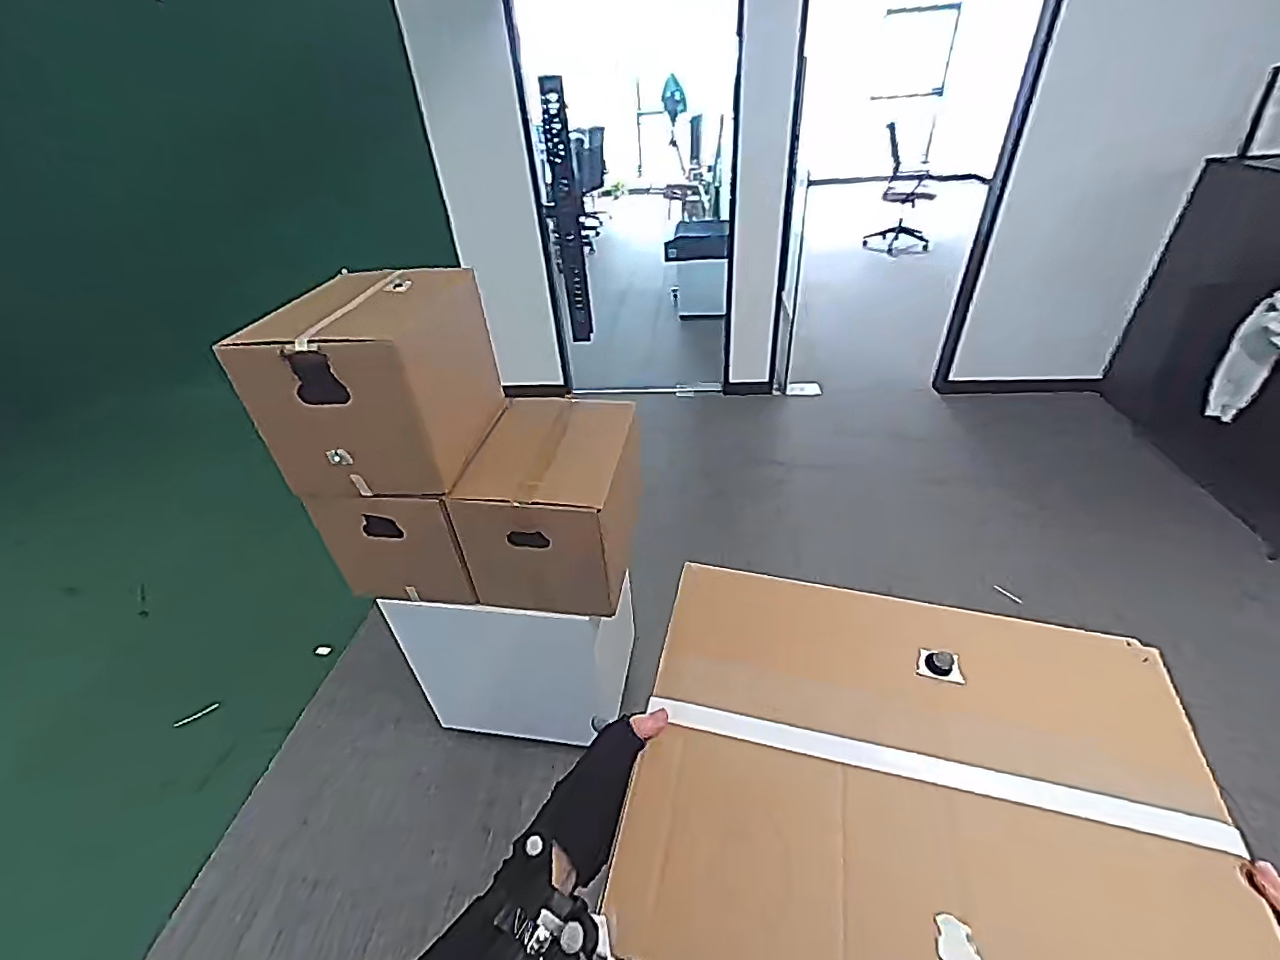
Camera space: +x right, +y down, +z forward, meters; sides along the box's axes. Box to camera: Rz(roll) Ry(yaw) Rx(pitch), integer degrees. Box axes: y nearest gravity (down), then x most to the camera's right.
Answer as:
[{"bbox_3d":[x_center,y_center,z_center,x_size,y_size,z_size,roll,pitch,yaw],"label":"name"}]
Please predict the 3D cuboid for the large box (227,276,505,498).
[{"bbox_3d":[-0.508,-0.202,1.115,0.320,0.320,0.408,0,35,6],"label":"large box"}]
